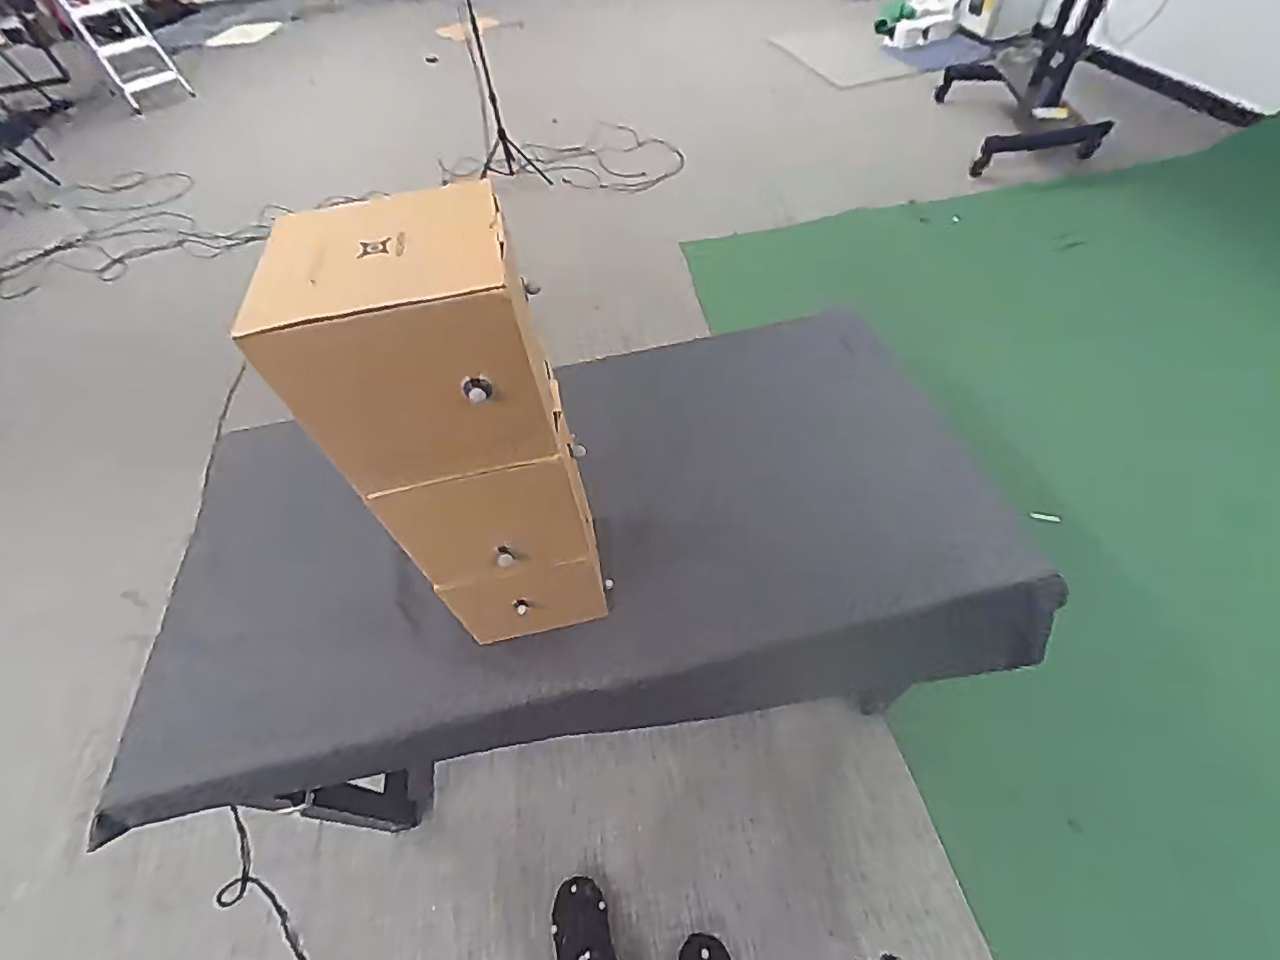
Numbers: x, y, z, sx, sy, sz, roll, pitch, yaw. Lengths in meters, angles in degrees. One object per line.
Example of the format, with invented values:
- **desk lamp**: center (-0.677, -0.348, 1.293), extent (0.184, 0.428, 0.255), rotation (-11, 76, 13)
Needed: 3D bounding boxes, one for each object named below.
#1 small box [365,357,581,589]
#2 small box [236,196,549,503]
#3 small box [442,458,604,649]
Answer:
- **small box**: center (-0.163, -0.003, 0.582), extent (0.179, 0.176, 0.168), rotation (-12, 52, -4)
- **small box**: center (-0.180, -0.105, 0.456), extent (0.179, 0.176, 0.168), rotation (-14, 51, -3)
- **small box**: center (-0.148, 0.099, 0.709), extent (0.179, 0.176, 0.168), rotation (-13, 53, -6)
